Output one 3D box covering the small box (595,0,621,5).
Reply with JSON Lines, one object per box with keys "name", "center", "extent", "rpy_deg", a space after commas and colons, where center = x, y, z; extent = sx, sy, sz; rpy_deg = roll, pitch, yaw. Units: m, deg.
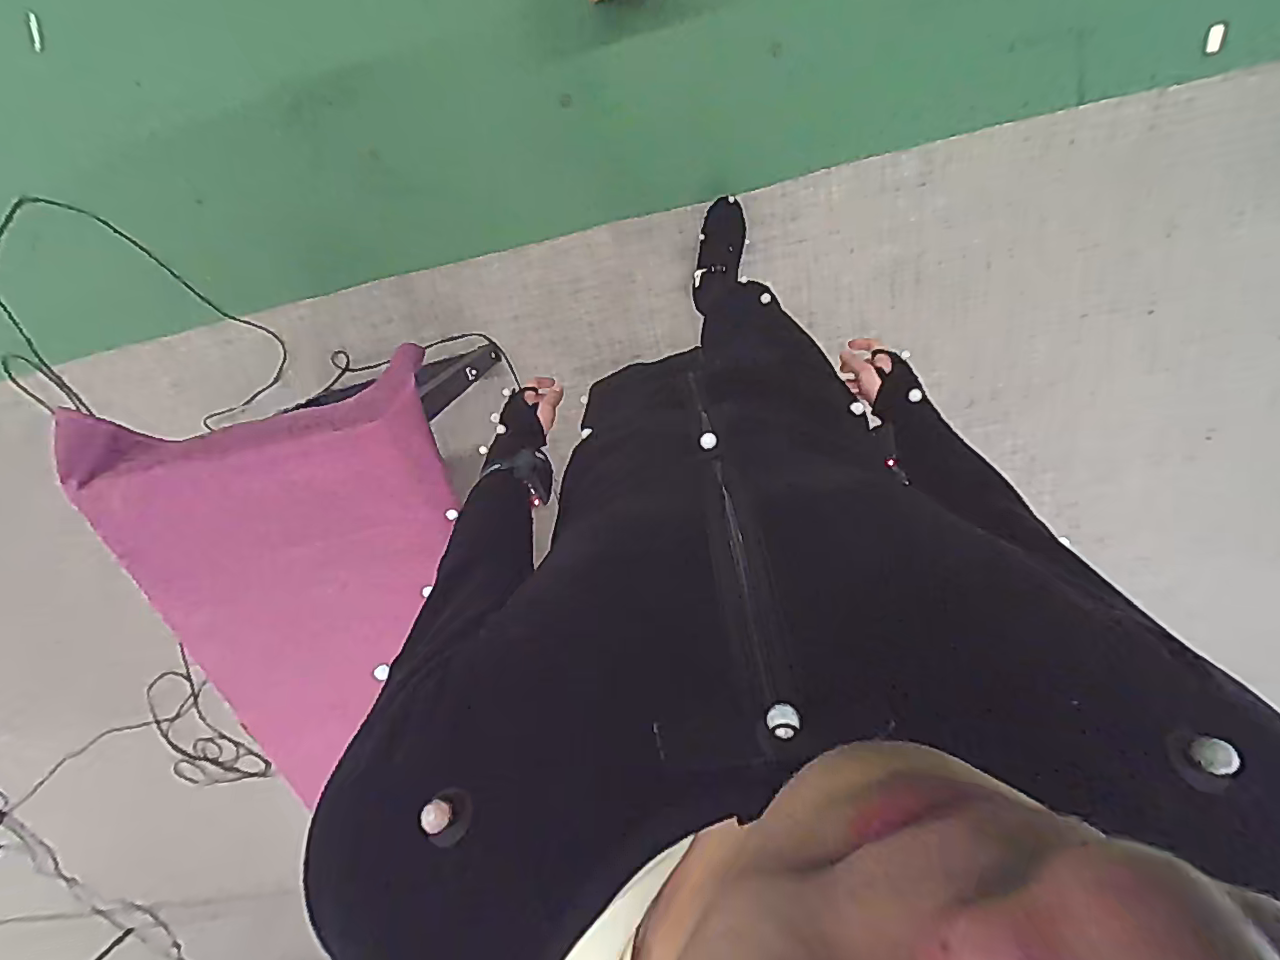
{"name": "small box", "center": [-0.041, -1.114, 1.100], "extent": [0.168, 0.176, 0.179], "rpy_deg": [-10, 112, 6]}
